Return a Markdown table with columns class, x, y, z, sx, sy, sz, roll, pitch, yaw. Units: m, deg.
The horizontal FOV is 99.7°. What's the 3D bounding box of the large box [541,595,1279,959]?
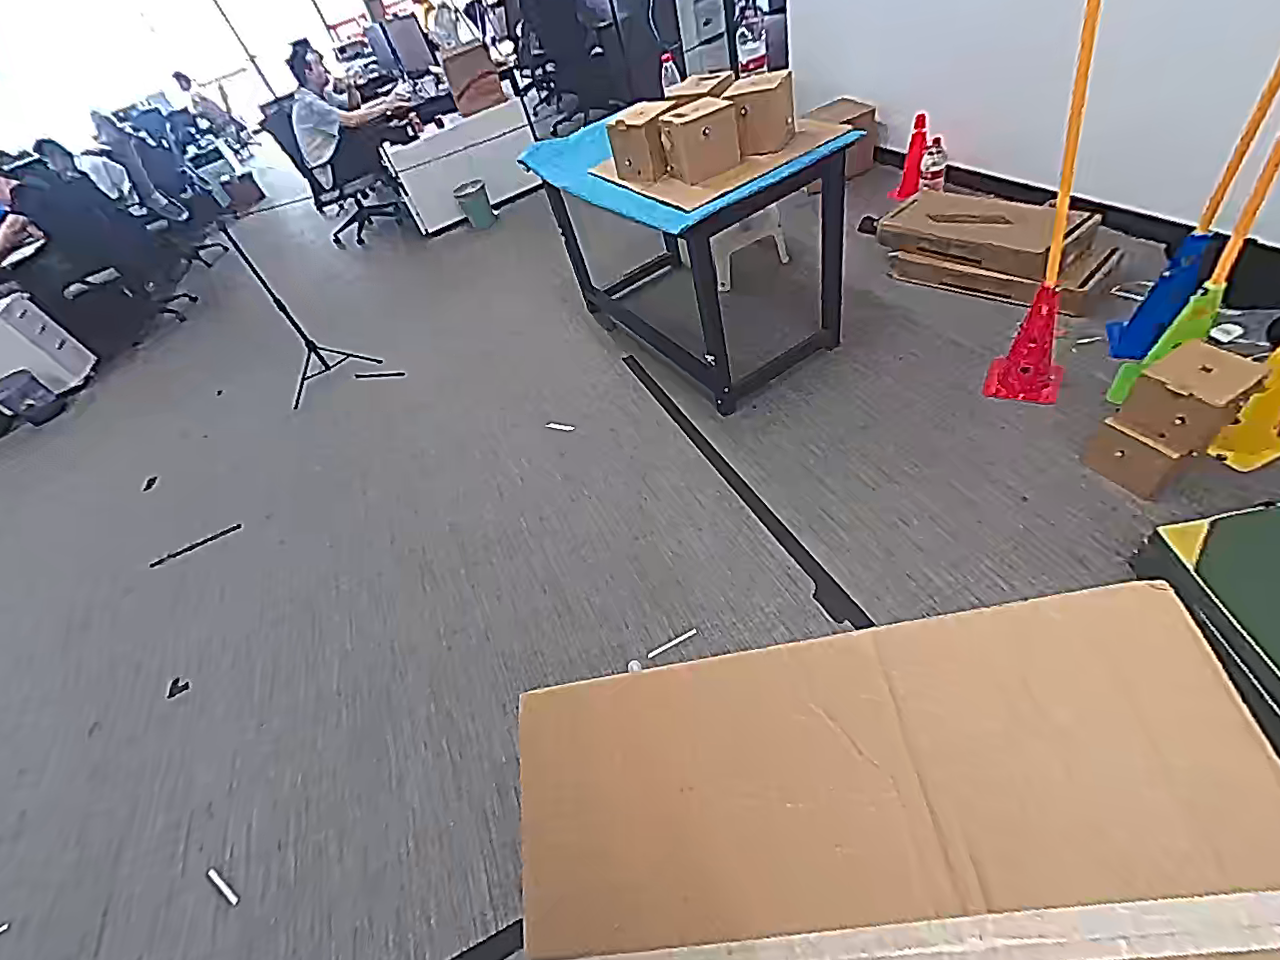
| class | x | y | z | sx | sy | sz | roll | pitch | yaw |
| --- | --- | --- | --- | --- | --- | --- | --- | --- | --- |
| large box | 0.175 | 0.313 | 0.416 | 0.408 | 0.320 | 0.320 | -14 | 63 | 10 |
